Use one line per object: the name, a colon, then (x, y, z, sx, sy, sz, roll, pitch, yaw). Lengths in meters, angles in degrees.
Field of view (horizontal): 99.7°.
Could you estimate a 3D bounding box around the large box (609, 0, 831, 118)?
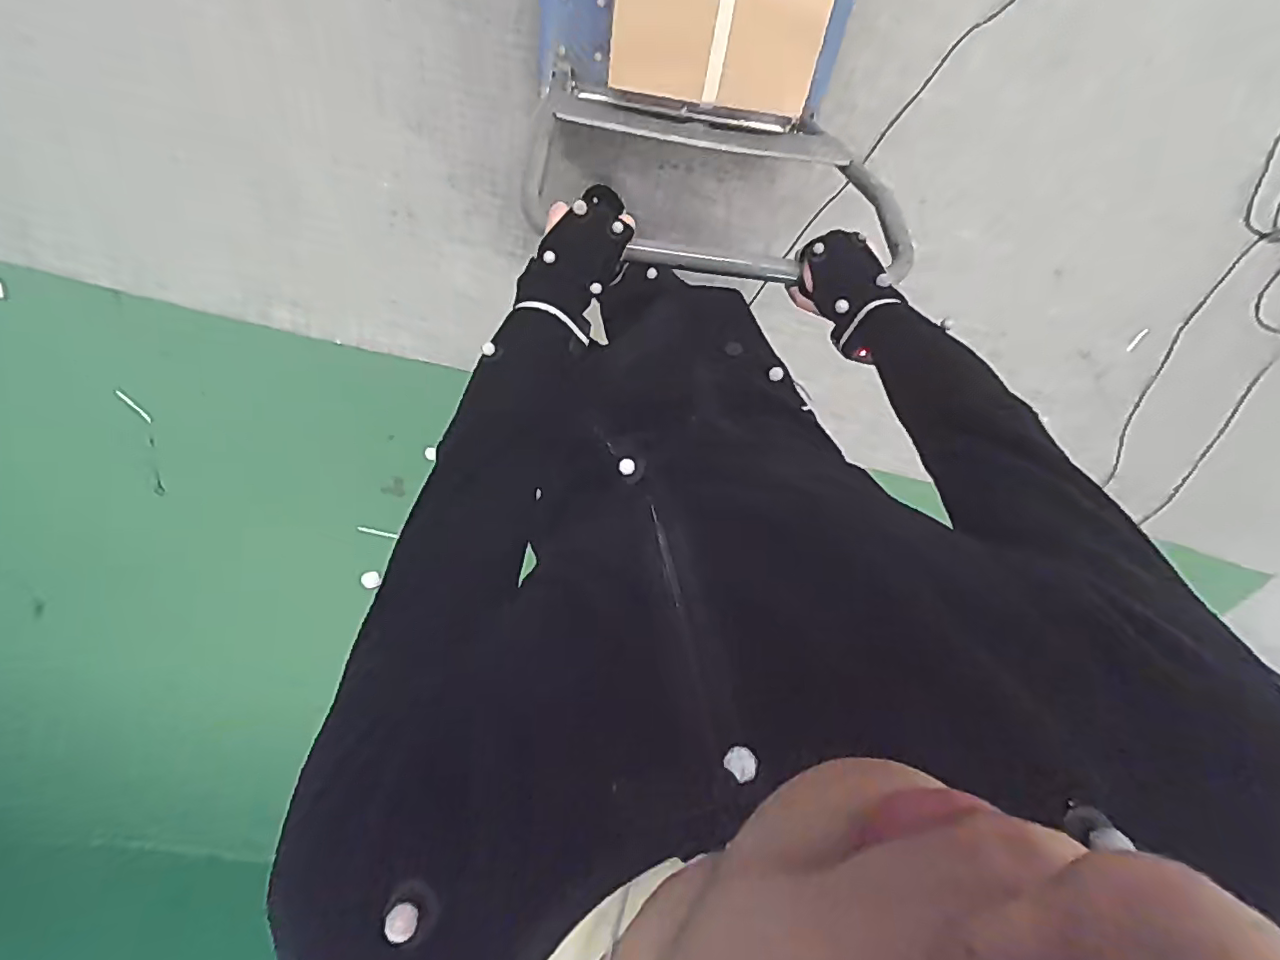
large box: (0.125, -0.834, 0.837, 0.320, 0.320, 0.408, 4, 130, -7)
